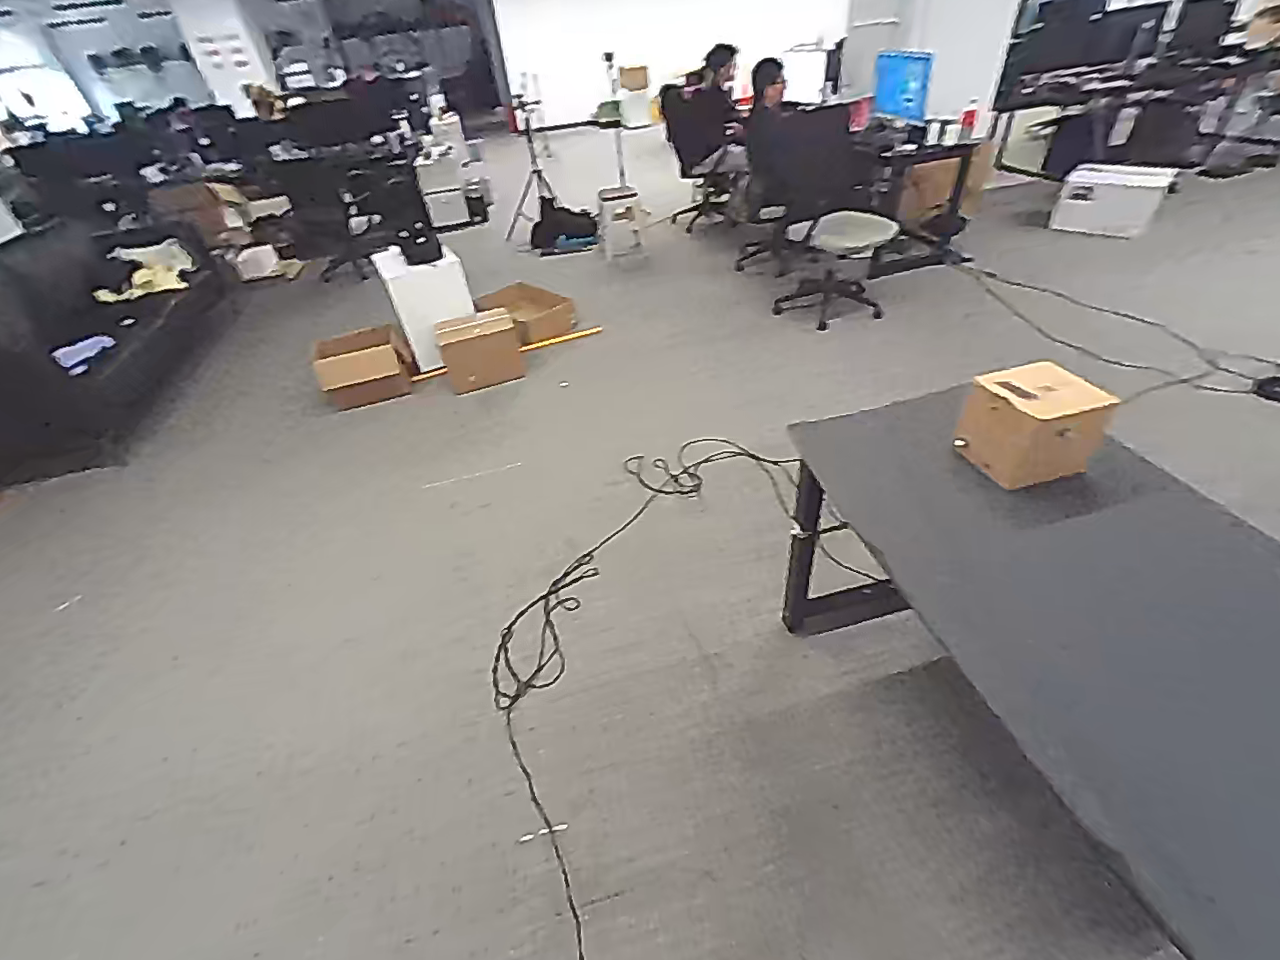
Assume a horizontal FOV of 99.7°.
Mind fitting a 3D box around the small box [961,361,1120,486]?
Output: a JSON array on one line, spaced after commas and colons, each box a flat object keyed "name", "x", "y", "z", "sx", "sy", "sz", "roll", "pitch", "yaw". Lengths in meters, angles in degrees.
[{"name": "small box", "x": 0.771, "y": -0.110, "z": 1.070, "sx": 0.179, "sy": 0.176, "sz": 0.168, "roll": -13, "pitch": 41, "yaw": -8}]
